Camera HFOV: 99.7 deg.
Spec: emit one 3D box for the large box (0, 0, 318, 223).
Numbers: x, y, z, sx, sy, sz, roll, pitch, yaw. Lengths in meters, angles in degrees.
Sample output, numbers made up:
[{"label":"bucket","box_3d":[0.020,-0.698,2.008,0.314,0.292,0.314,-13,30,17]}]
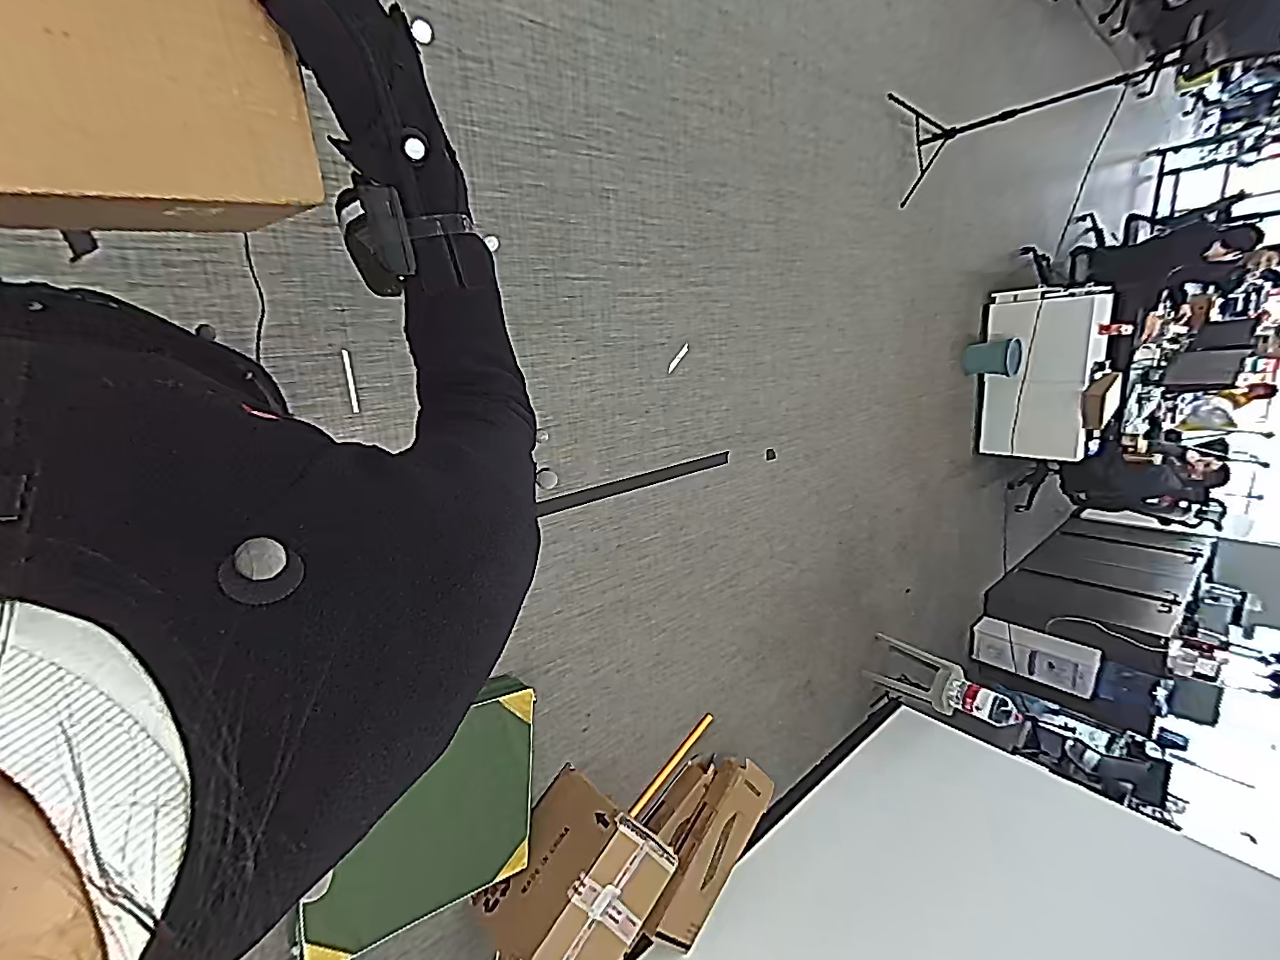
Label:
[{"label":"large box","box_3d":[-0.476,-0.324,0.303,0.408,0.320,0.320,-20,120,-38]}]
